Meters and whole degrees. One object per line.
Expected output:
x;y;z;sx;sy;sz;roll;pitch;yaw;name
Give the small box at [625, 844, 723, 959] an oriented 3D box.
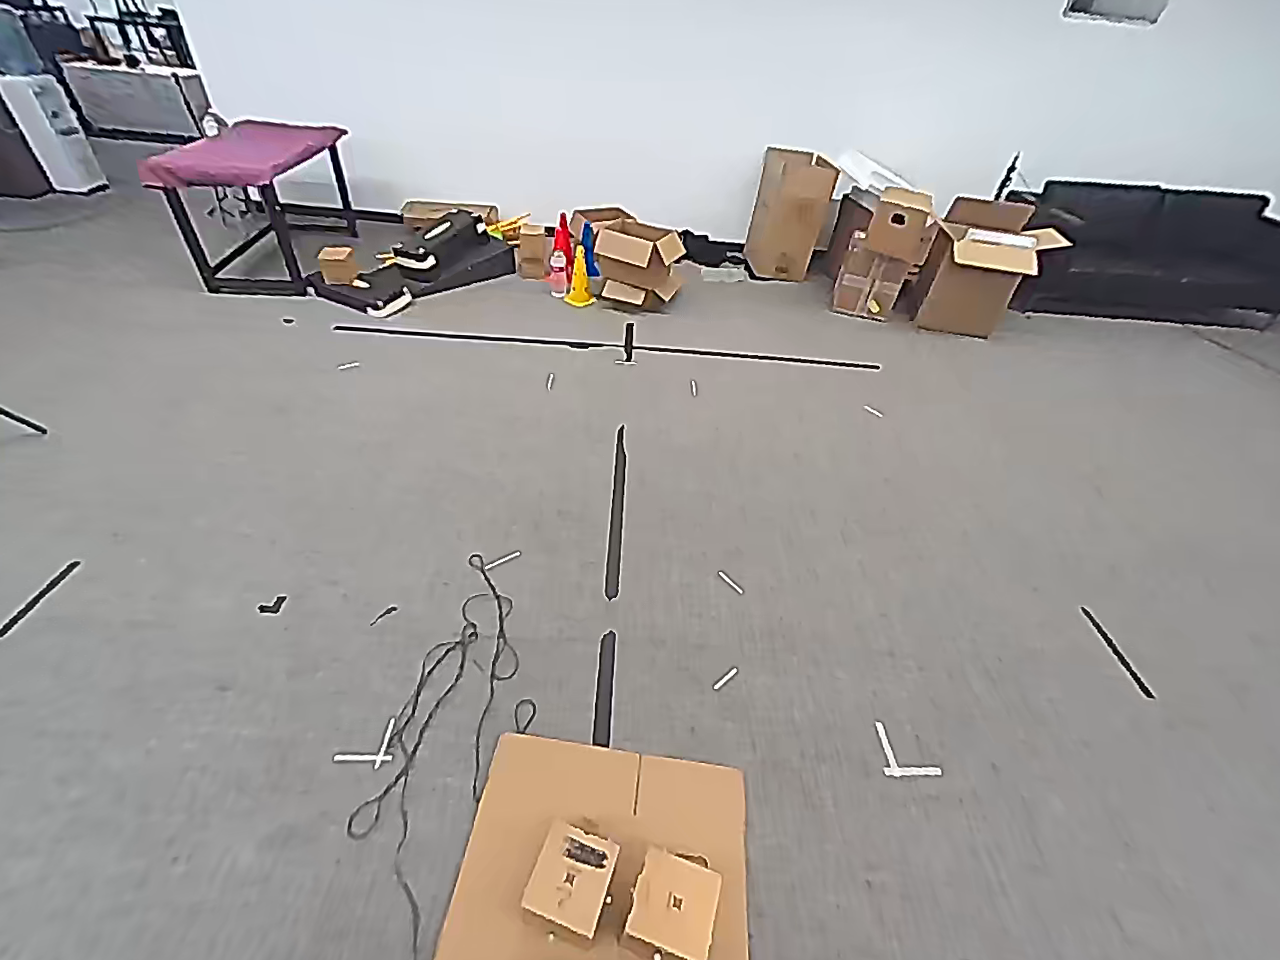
0.075;0.968;1.224;0.179;0.176;0.168;15;42;11;small box
